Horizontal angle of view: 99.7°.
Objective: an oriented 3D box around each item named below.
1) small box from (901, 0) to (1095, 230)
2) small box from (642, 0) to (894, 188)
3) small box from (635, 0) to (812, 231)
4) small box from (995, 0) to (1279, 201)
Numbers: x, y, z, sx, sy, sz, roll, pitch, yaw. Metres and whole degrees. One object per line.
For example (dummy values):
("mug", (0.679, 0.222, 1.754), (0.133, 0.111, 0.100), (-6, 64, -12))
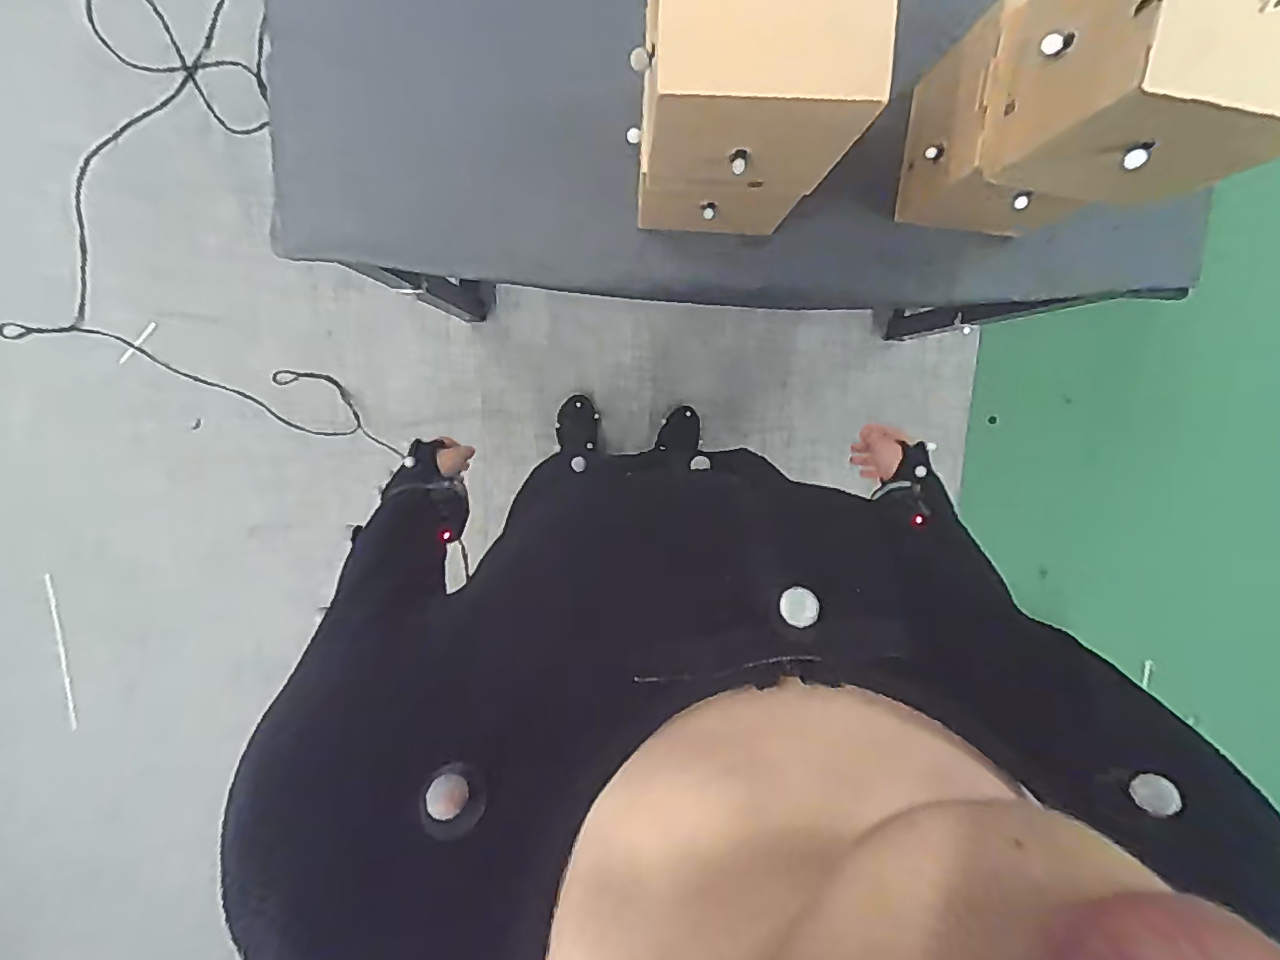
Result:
("small box", (0.426, -0.397, 0.609), (0.179, 0.176, 0.168), (5, 99, -4))
("small box", (0.088, -0.357, 0.436), (0.168, 0.176, 0.179), (1, 97, -2))
("small box", (0.086, -0.388, 0.598), (0.179, 0.176, 0.168), (3, 97, -1))
("small box", (0.442, -0.356, 0.450), (0.179, 0.176, 0.168), (8, 98, -3))
